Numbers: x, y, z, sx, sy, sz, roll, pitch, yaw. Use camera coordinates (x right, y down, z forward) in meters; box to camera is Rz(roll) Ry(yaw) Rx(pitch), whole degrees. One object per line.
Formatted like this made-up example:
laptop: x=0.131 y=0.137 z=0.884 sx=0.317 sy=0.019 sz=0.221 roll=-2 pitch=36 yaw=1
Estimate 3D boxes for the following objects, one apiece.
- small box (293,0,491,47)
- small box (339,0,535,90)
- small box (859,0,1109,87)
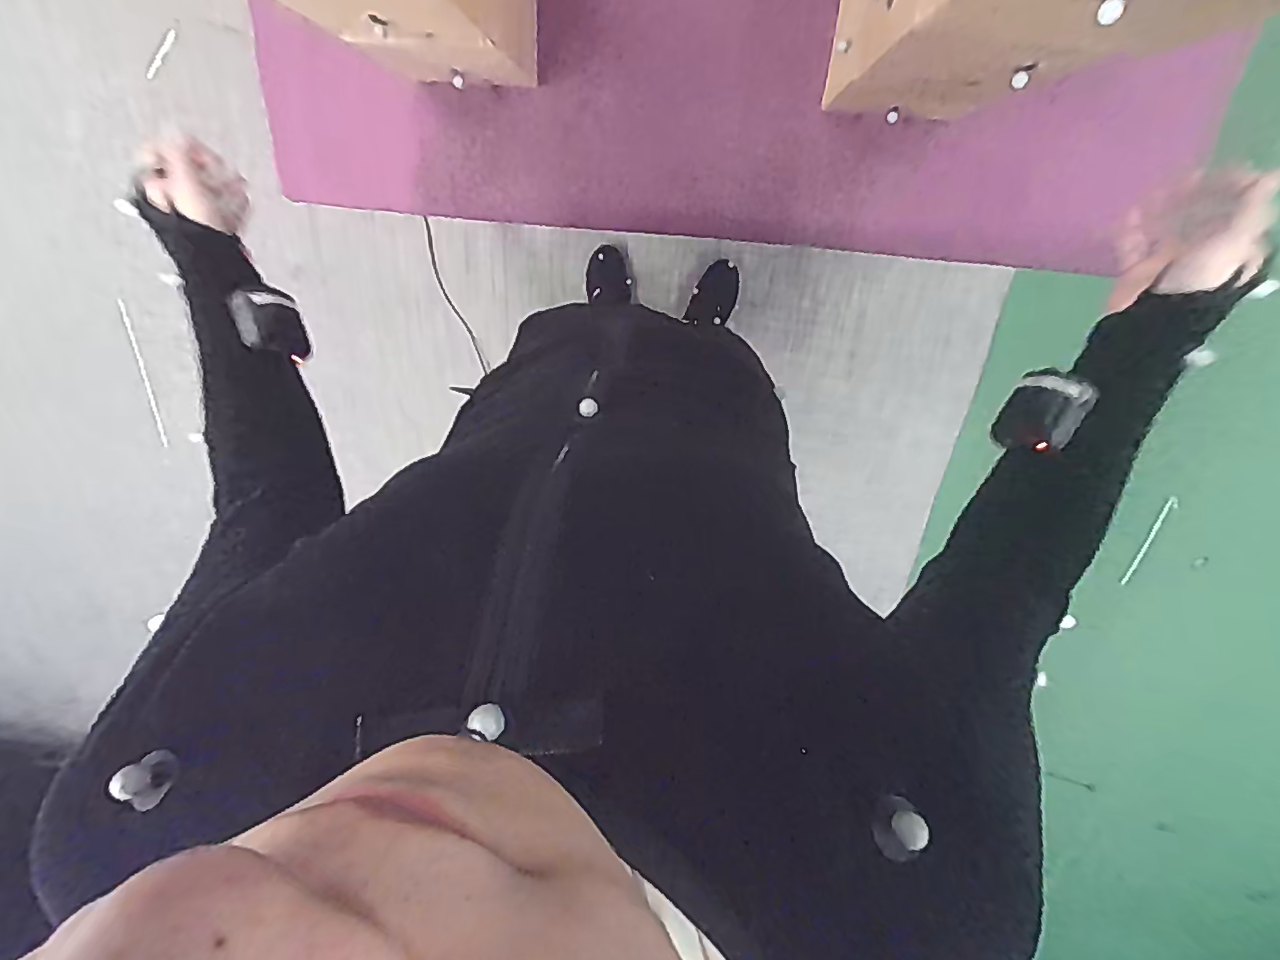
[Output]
small box: x=-0.233 y=-0.499 z=0.450 sx=0.168 sy=0.176 sz=0.179 roll=4 pitch=115 yaw=3
small box: x=-0.218 y=-0.563 z=0.598 sx=0.168 sy=0.176 sz=0.179 roll=6 pitch=114 yaw=4
small box: x=0.287 y=-0.431 z=0.422 sx=0.168 sy=0.176 sz=0.179 roll=6 pitch=114 yaw=3
